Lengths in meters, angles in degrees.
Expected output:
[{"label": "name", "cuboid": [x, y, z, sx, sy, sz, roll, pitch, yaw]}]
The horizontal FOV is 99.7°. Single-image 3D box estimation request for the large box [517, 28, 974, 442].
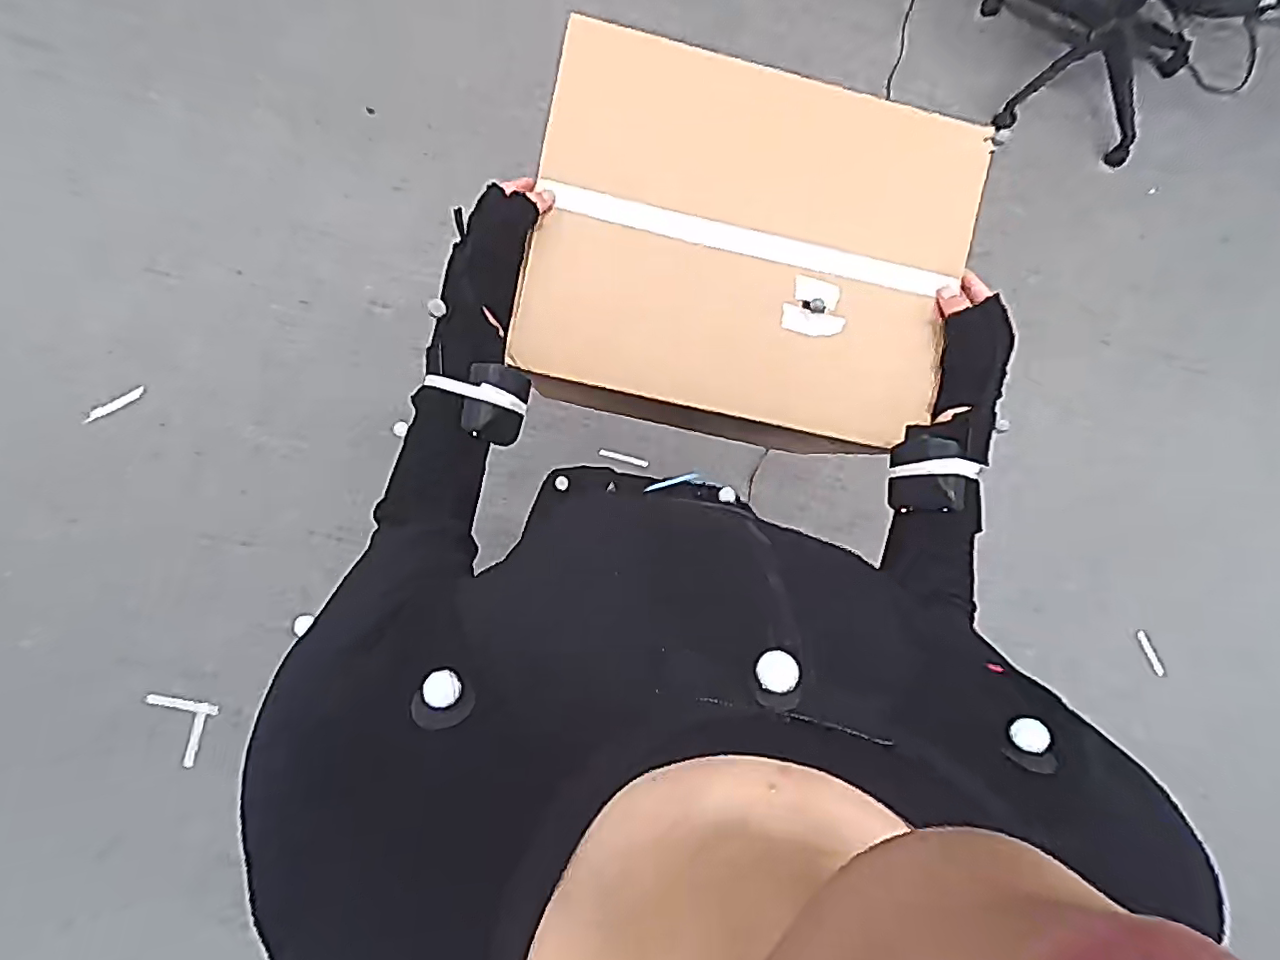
[{"label": "large box", "cuboid": [0.089, -0.233, 0.659, 0.408, 0.320, 0.320, 11, 93, -6]}]
